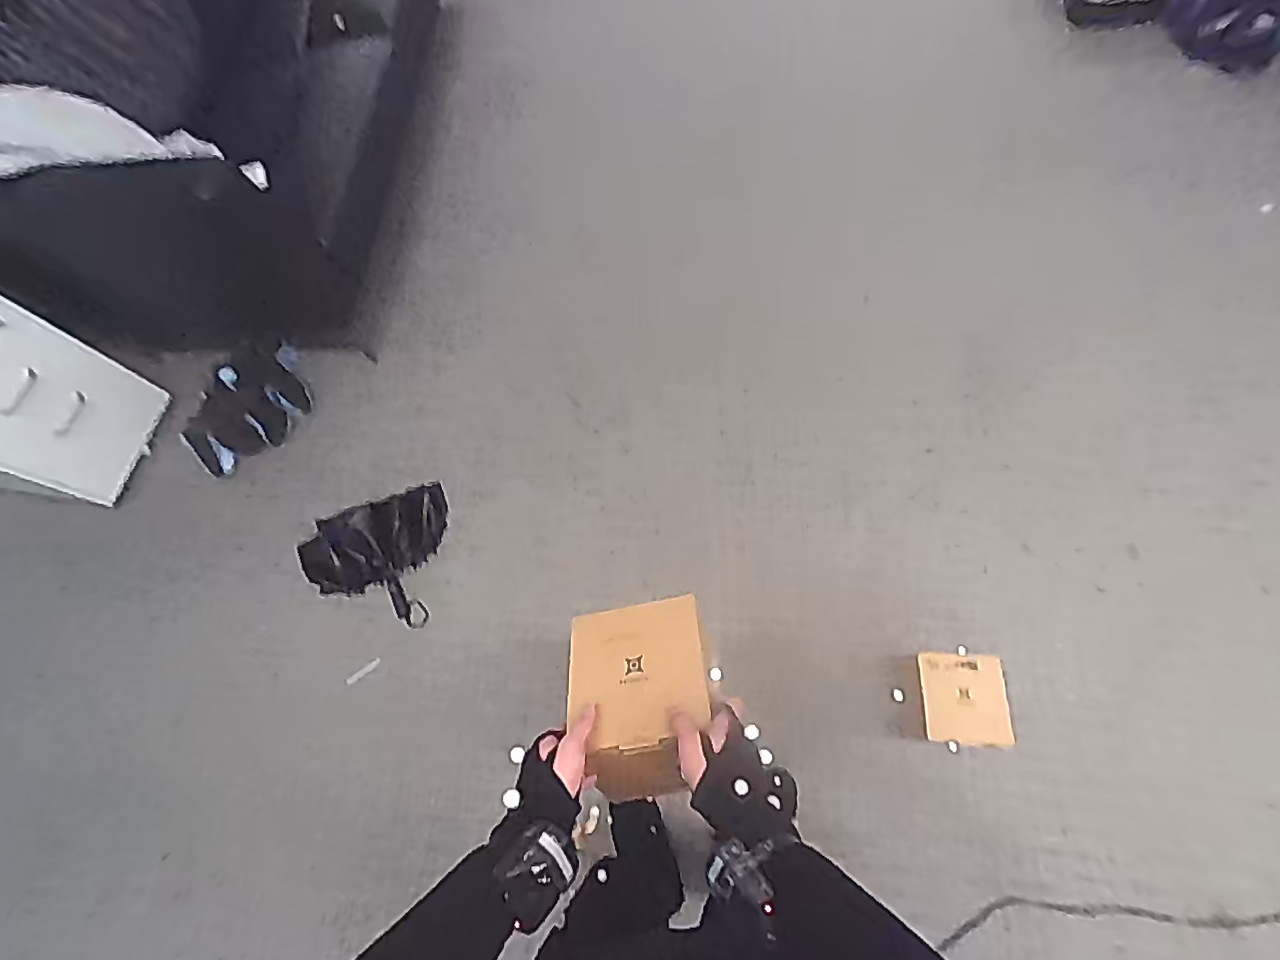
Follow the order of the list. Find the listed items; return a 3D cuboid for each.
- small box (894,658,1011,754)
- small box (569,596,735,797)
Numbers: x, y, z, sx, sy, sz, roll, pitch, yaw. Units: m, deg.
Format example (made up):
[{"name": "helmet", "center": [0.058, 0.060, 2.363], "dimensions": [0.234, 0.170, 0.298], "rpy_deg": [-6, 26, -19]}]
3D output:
[{"name": "small box", "center": [0.678, 0.494, 1.194], "dimensions": [0.168, 0.176, 0.179], "rpy_deg": [1, 68, 8]}, {"name": "small box", "center": [0.017, 0.281, 0.689], "dimensions": [0.168, 0.176, 0.179], "rpy_deg": [-14, 41, 7]}]
